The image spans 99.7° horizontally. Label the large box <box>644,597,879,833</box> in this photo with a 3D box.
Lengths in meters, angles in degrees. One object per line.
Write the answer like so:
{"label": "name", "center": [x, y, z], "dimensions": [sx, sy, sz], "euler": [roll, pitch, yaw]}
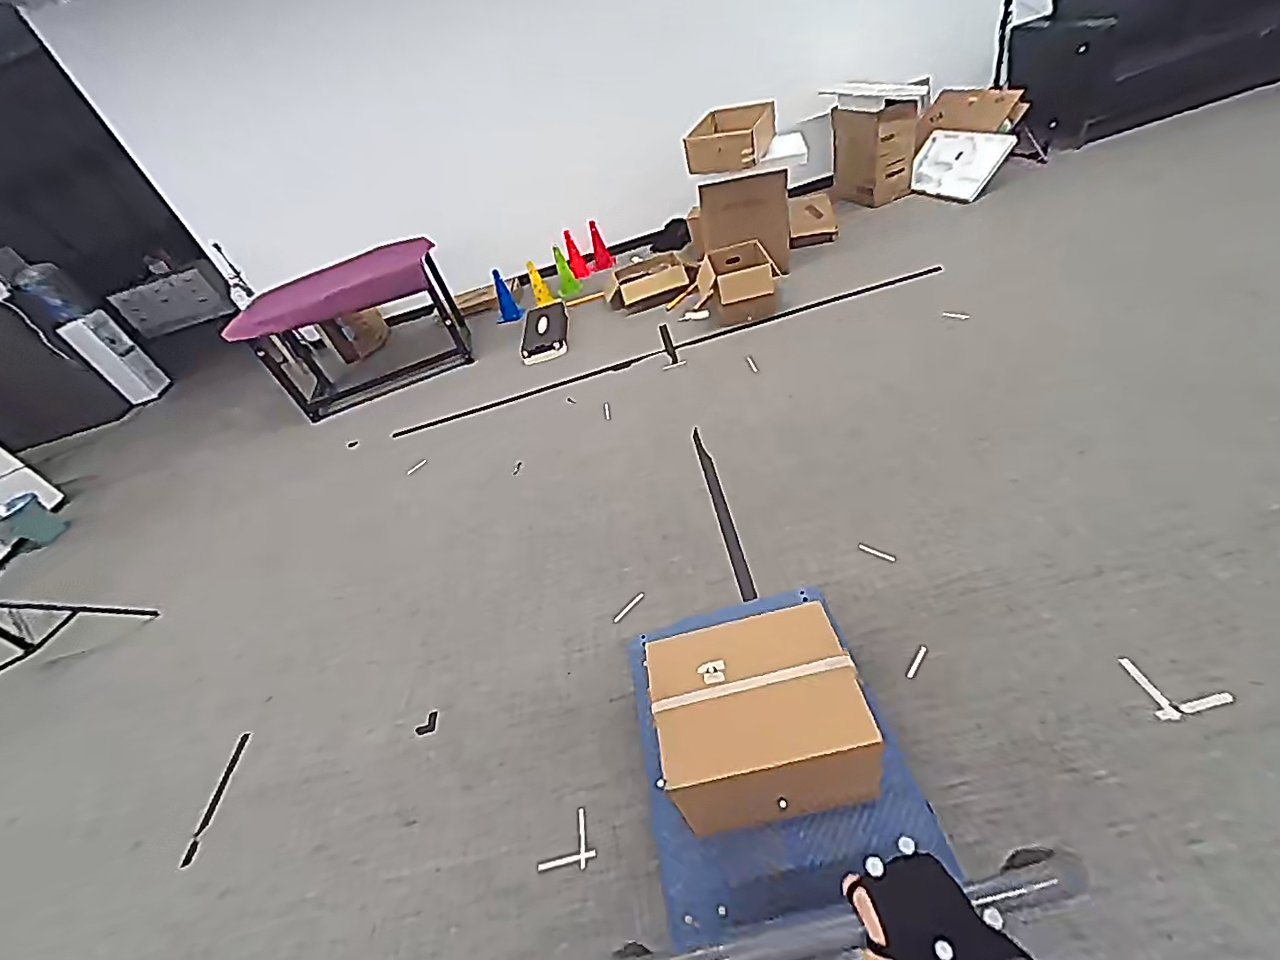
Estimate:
{"label": "large box", "center": [0.257, 0.514, 1.178], "dimensions": [0.408, 0.320, 0.320], "euler": [-17, 39, 5]}
